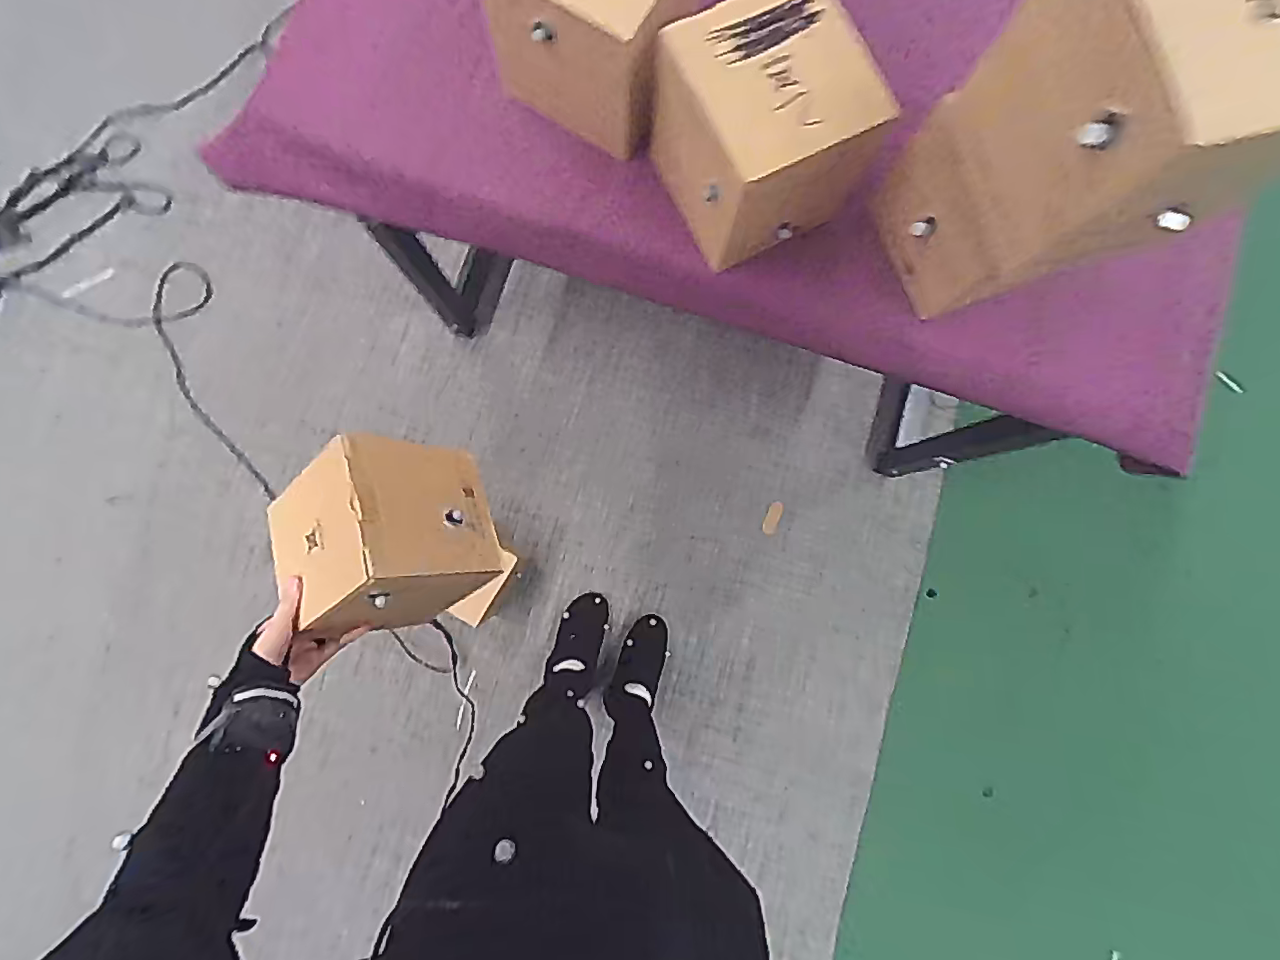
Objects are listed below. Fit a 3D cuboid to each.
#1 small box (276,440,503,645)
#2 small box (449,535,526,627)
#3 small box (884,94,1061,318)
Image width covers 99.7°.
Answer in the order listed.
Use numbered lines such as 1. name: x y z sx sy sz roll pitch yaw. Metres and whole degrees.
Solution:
1. small box: -0.294 0.079 0.639 0.179 0.176 0.168 -34 66 25
2. small box: -0.378 0.207 1.240 0.168 0.176 0.179 32 84 2
3. small box: 0.397 -0.302 0.590 0.179 0.176 0.168 -21 84 -4
